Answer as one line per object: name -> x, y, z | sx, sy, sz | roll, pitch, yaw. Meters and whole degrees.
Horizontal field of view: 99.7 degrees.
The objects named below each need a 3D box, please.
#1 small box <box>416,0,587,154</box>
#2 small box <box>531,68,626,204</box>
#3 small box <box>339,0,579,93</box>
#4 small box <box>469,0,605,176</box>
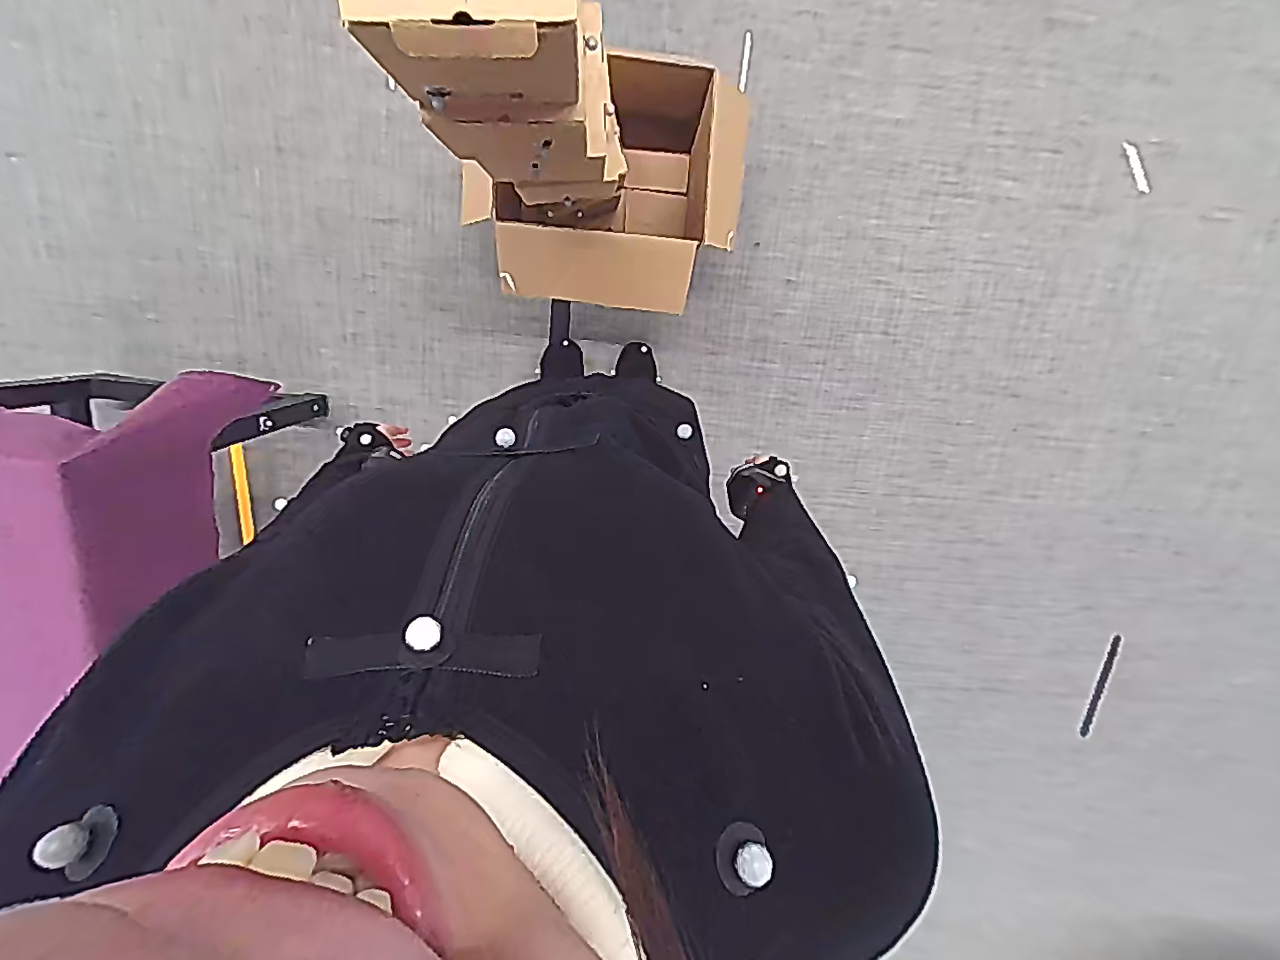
small box -> -0.143, -0.469, 0.587 | 0.168, 0.176, 0.179 | -2, 110, -5
small box -> -0.135, -0.652, 1.045 | 0.179, 0.176, 0.168 | -16, 110, 0
small box -> -0.135, -0.430, 0.426 | 0.168, 0.176, 0.179 | -3, 110, -5
small box -> -0.138, -0.523, 0.741 | 0.179, 0.176, 0.168 | -3, 111, -4
